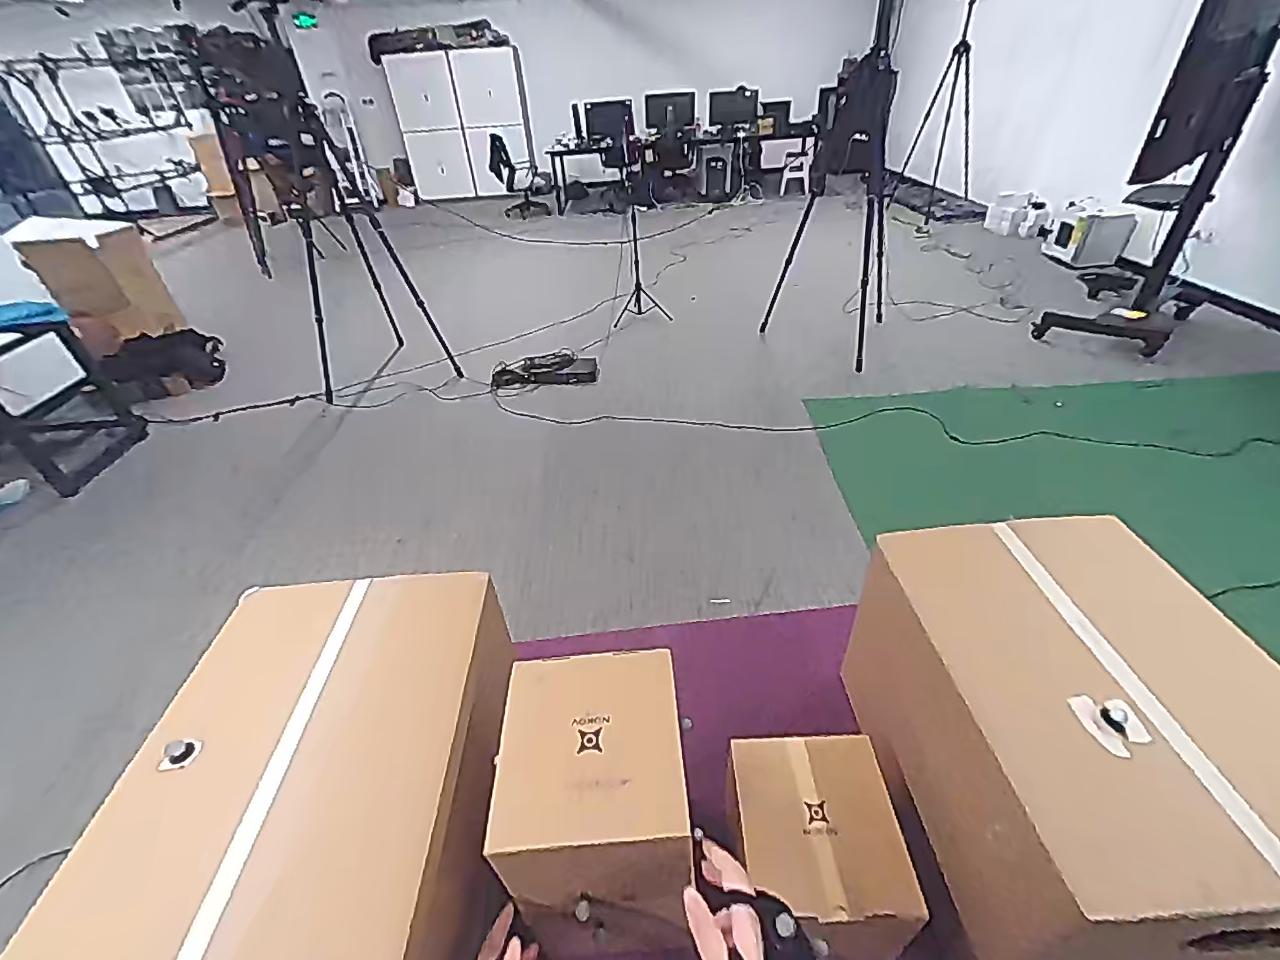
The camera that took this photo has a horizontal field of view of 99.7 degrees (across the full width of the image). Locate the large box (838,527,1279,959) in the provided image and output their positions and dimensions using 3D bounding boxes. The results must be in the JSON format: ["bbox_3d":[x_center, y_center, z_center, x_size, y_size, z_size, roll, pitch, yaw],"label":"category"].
[{"bbox_3d":[0.476,0.306,0.645,0.320,0.320,0.408,-4,38,1],"label":"large box"}]
